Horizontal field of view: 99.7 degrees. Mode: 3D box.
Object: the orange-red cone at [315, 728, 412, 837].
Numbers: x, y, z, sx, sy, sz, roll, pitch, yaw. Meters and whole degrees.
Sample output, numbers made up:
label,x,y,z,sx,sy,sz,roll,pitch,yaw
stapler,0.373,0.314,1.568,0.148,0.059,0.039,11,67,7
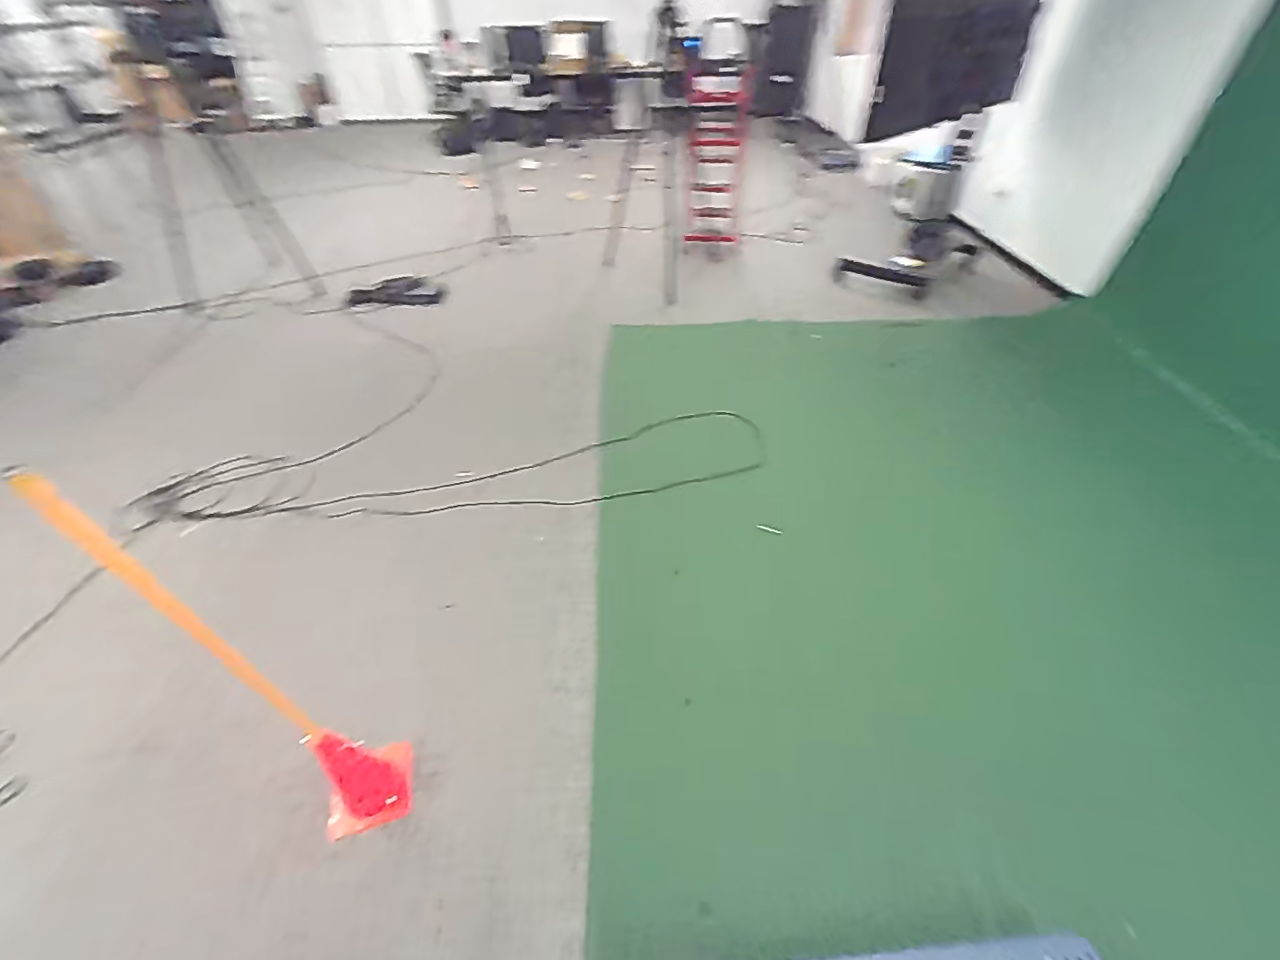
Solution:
label,x,y,z,sx,sy,sz,roll,pitch,yaw
orange-red cone,-0.731,0.719,1.364,0.198,0.360,0.199,-11,42,-11
